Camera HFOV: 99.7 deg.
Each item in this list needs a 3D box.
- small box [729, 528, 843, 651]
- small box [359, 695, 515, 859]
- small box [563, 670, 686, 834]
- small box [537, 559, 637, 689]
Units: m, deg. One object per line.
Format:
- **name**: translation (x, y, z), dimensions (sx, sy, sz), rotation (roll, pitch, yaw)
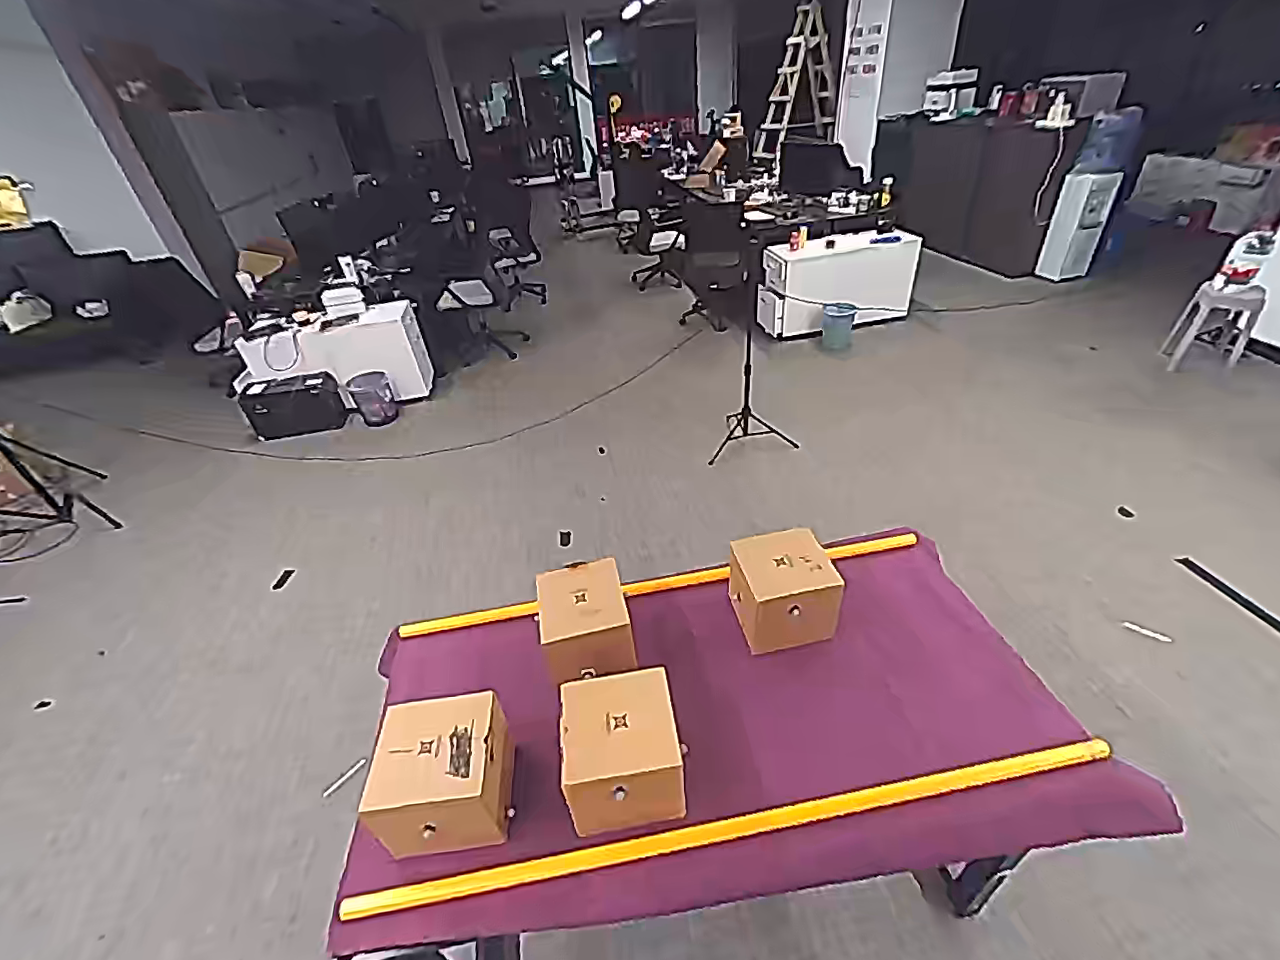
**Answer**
- **small box**: translation (0.290, 0.227, 1.108), dimensions (0.179, 0.176, 0.168), rotation (-10, 38, -5)
- **small box**: translation (-0.305, 0.473, 0.863), dimensions (0.179, 0.176, 0.168), rotation (-7, 36, -2)
- **small box**: translation (-0.025, 0.437, 0.873), dimensions (0.179, 0.176, 0.168), rotation (-9, 36, -3)
- **small box**: translation (-0.106, 0.291, 1.085), dimensions (0.168, 0.176, 0.179), rotation (-12, 37, -6)
